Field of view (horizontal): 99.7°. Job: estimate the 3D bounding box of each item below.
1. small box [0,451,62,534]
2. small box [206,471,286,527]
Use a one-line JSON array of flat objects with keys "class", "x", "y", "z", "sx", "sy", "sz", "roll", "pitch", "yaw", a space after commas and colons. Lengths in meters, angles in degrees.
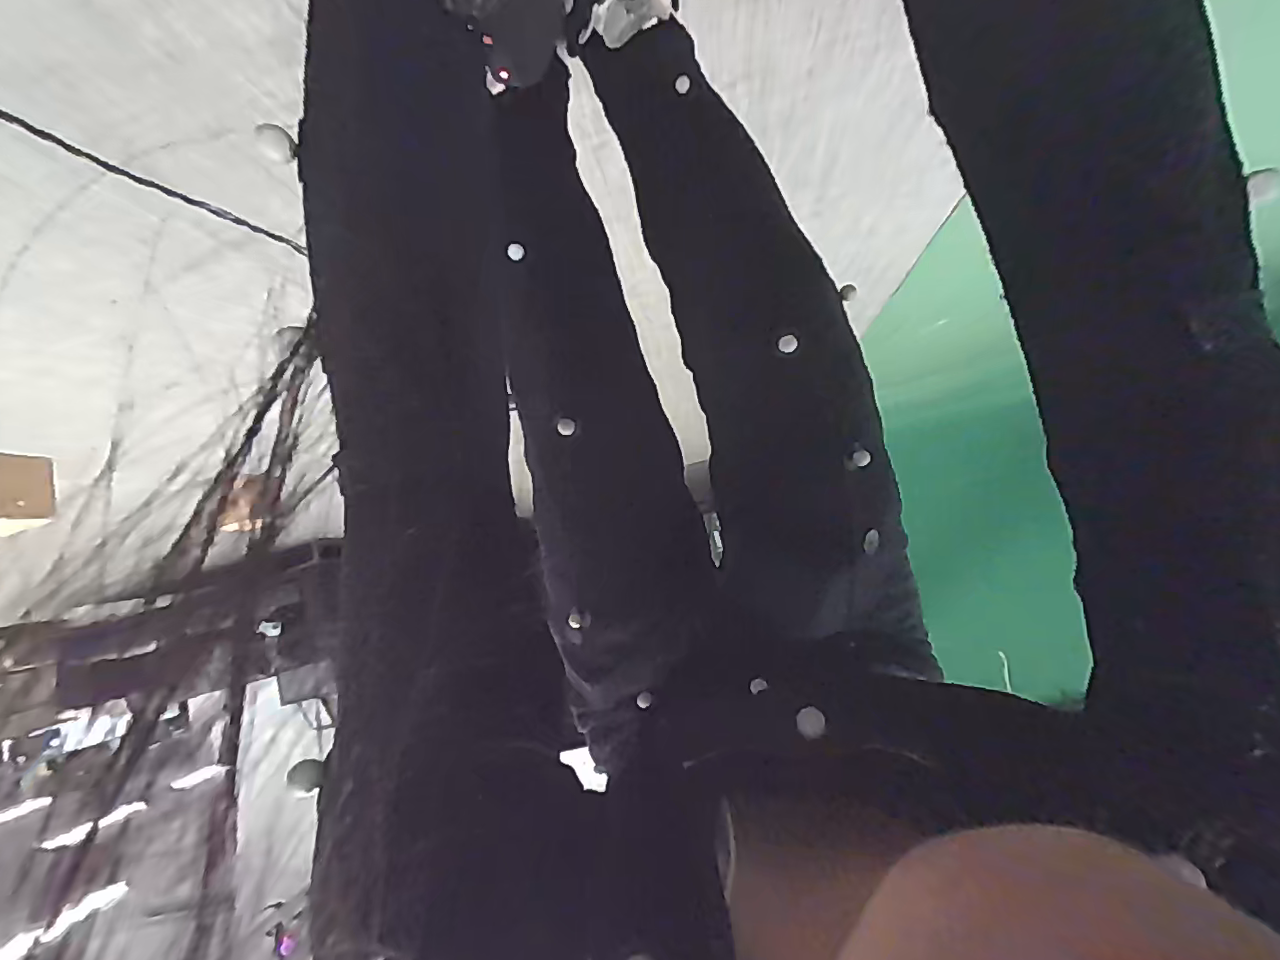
[{"class": "small box", "x": -1.581, "y": 0.029, "z": 1.310, "sx": 0.168, "sy": 0.176, "sz": 0.179, "roll": -16, "pitch": 174, "yaw": 9}, {"class": "small box", "x": -1.444, "y": 0.072, "z": 1.981, "sx": 0.179, "sy": 0.176, "sz": 0.168, "roll": -15, "pitch": 174, "yaw": 9}]
